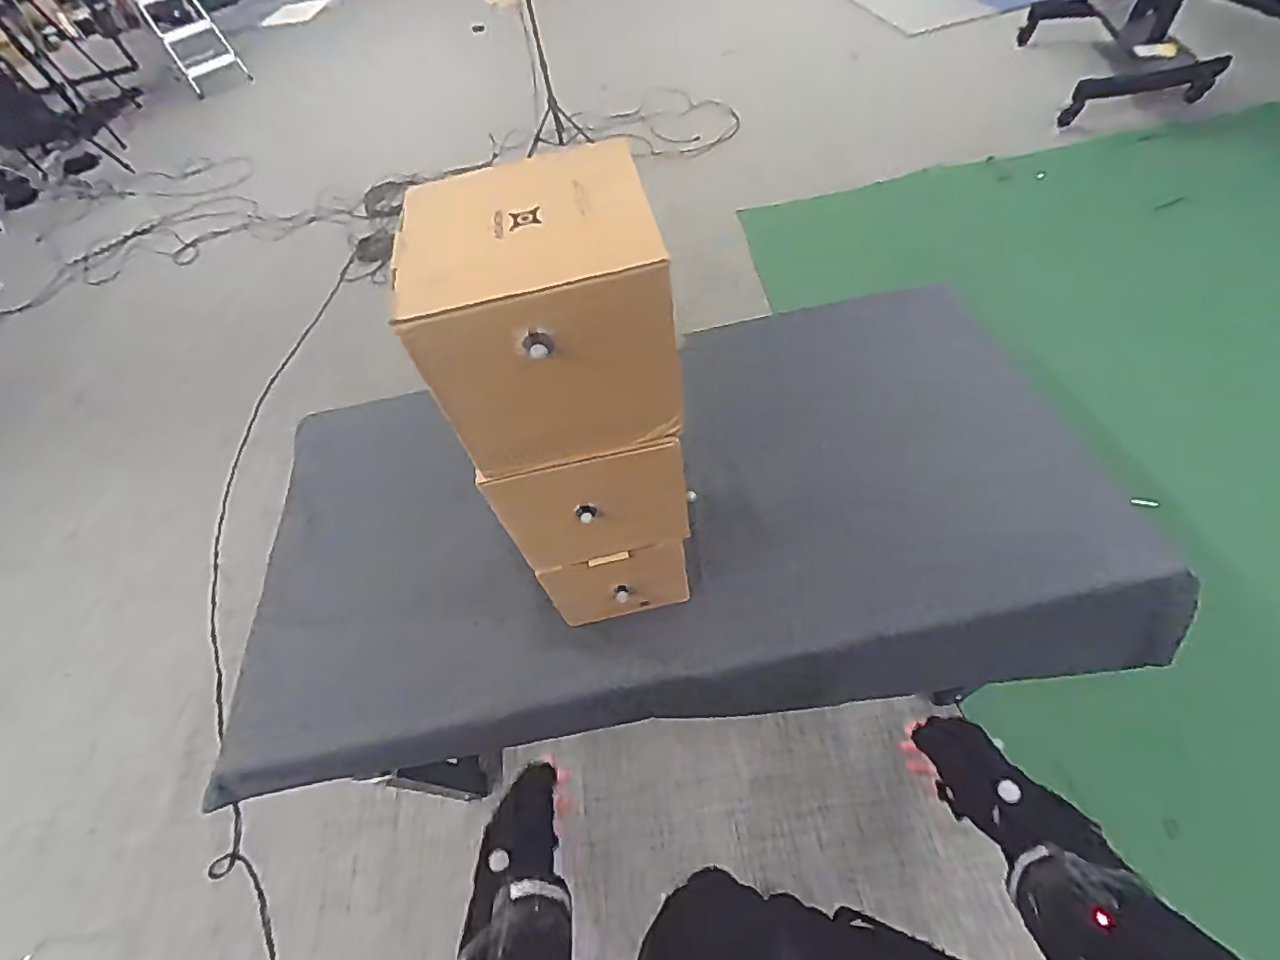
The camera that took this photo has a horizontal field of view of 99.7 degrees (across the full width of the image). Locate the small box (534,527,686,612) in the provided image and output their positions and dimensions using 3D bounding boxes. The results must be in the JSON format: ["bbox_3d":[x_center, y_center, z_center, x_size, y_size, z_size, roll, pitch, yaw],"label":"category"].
[{"bbox_3d":[-0.039,0.058,0.700,0.168,0.176,0.179,-13,56,0],"label":"small box"}]

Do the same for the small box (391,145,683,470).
[{"bbox_3d":[-0.069,-0.128,0.433,0.179,0.176,0.168,-12,56,-1],"label":"small box"}]

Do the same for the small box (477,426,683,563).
[{"bbox_3d":[-0.053,-0.032,0.562,0.179,0.176,0.168,-12,55,2],"label":"small box"}]
